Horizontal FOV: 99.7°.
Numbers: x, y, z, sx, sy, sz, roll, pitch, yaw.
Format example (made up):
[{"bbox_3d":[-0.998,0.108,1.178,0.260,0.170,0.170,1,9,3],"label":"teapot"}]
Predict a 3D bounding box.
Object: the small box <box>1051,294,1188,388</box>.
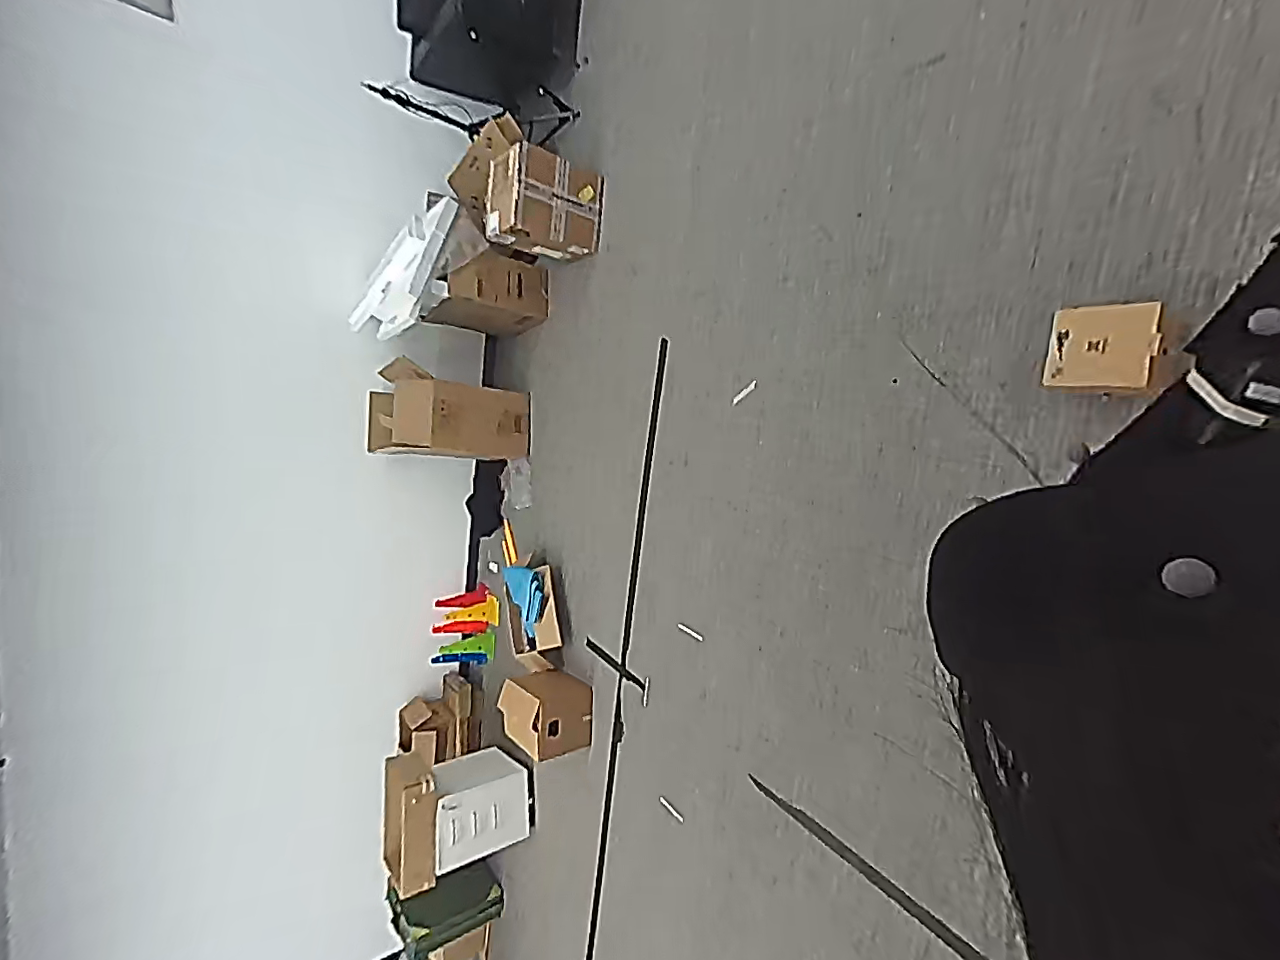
[{"bbox_3d":[1.018,-0.288,1.146,0.179,0.176,0.168,15,102,52],"label":"small box"}]
